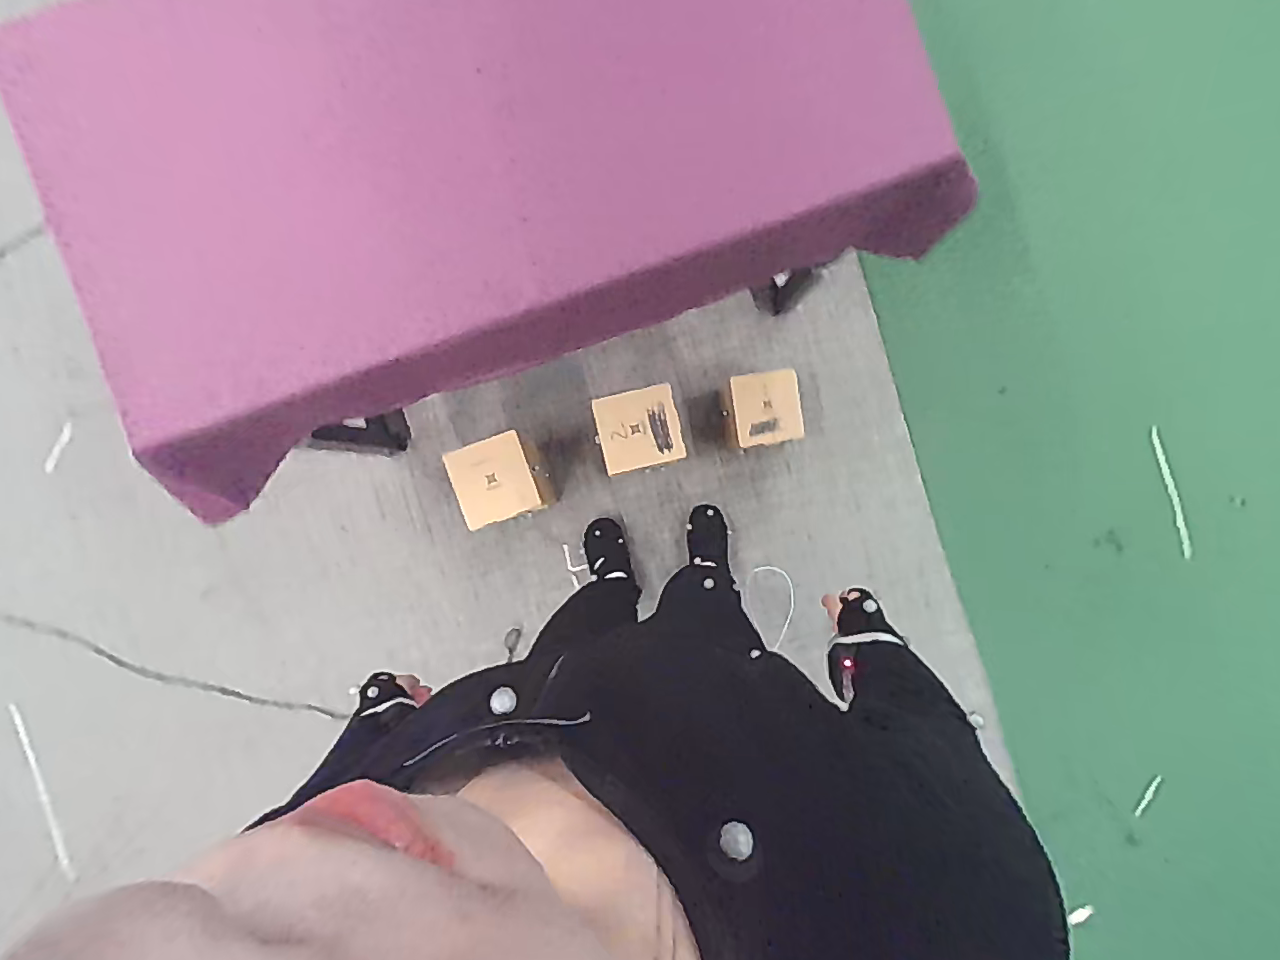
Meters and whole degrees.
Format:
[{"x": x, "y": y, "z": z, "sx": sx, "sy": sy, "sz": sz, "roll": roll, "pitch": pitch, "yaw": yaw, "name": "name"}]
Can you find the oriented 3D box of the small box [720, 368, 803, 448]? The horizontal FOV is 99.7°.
[{"x": 0.308, "y": -0.179, "z": 1.397, "sx": 0.168, "sy": 0.176, "sz": 0.179, "roll": -8, "pitch": 89, "yaw": -1, "name": "small box"}]
